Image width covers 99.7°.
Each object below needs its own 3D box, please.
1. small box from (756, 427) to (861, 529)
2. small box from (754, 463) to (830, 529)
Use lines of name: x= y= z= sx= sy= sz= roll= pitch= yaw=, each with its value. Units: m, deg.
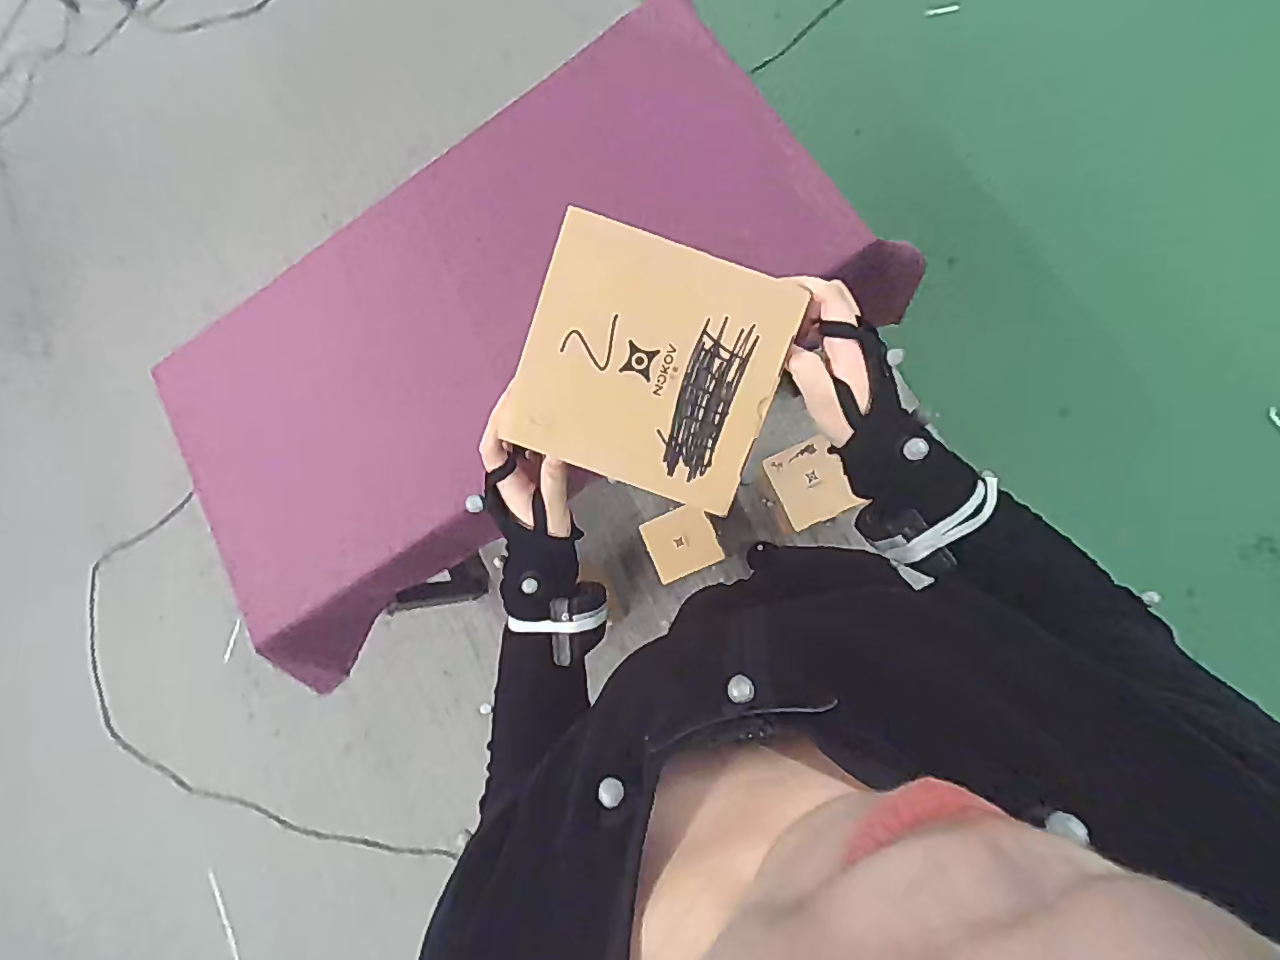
small box: x=0.378 y=0.003 z=1.241 sx=0.168 sy=0.176 sz=0.179 roll=-24 pitch=79 yaw=6
small box: x=0.405 y=0.023 z=1.403 sx=0.168 sy=0.176 sz=0.179 roll=-21 pitch=78 yaw=8
